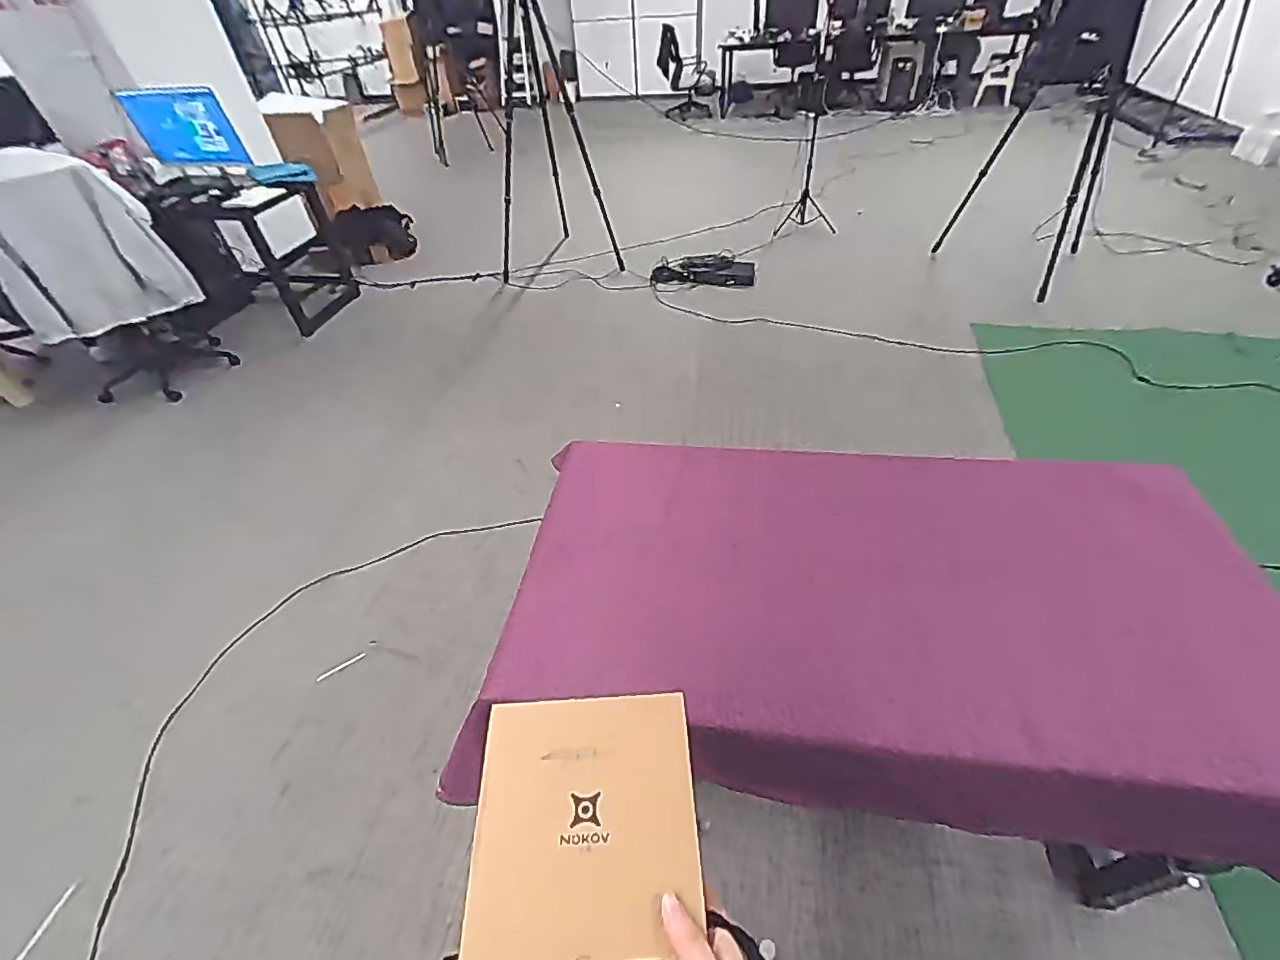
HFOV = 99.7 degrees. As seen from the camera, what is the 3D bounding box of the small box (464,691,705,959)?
[{"bbox_3d":[-0.037,0.303,0.470,0.168,0.176,0.179,-2,48,-1],"label":"small box"}]
